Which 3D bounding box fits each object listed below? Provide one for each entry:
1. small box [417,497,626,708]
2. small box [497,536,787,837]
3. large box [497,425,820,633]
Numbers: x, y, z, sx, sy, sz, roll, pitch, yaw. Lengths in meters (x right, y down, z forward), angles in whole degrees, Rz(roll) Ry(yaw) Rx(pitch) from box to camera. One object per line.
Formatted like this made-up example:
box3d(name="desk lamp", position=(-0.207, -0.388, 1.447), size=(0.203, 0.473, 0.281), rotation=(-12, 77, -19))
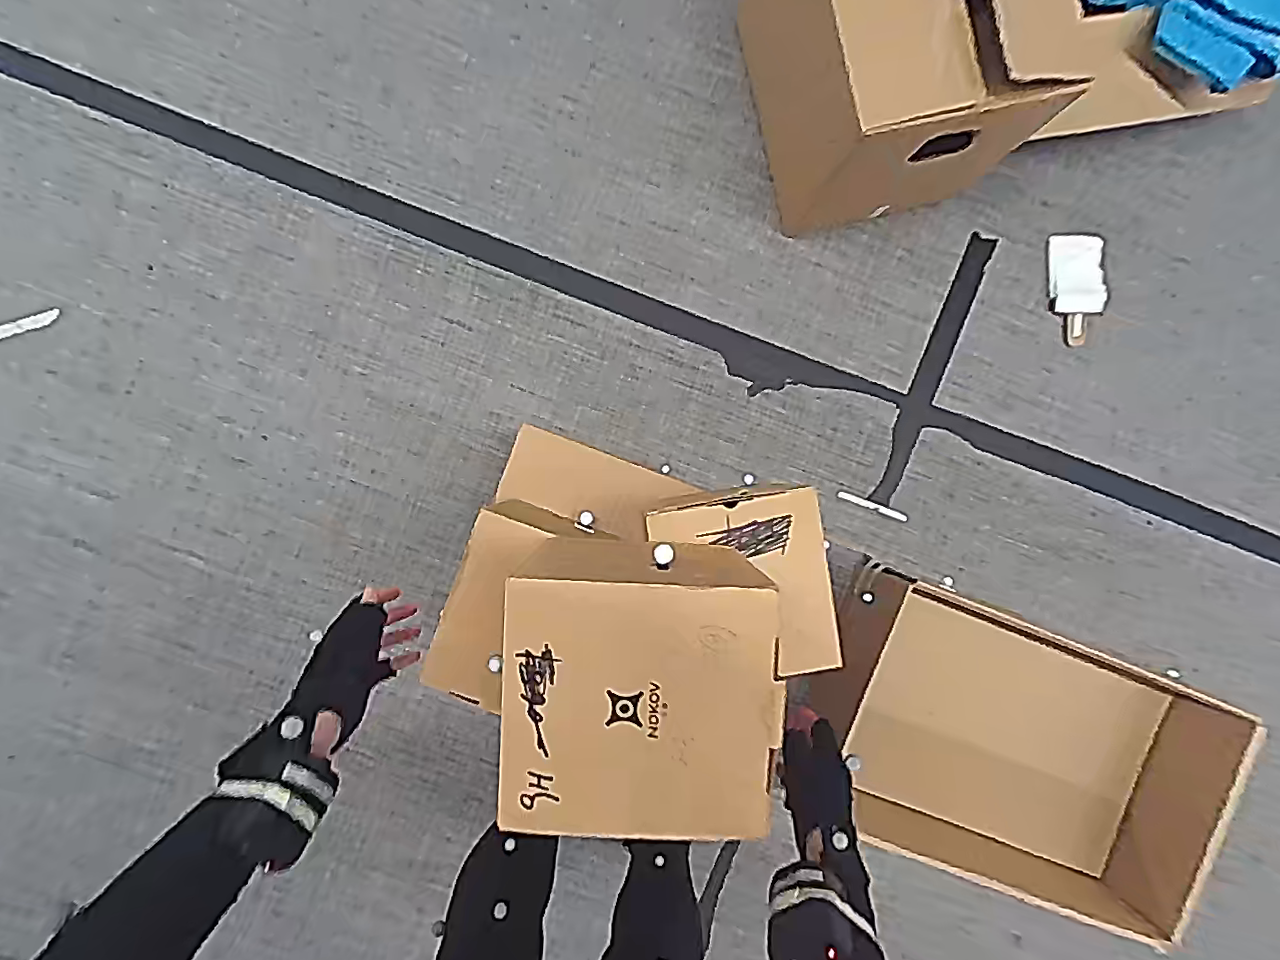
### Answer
box3d(name="small box", position=(-0.105, 0.127, 0.577), size=(0.168, 0.176, 0.179), rotation=(19, 89, -4))
box3d(name="small box", position=(-0.001, 0.137, 0.416), size=(0.179, 0.176, 0.168), rotation=(3, 92, -1))
box3d(name="large box", position=(-0.015, 0.132, 0.823), size=(0.408, 0.320, 0.320), rotation=(20, 91, -3))
